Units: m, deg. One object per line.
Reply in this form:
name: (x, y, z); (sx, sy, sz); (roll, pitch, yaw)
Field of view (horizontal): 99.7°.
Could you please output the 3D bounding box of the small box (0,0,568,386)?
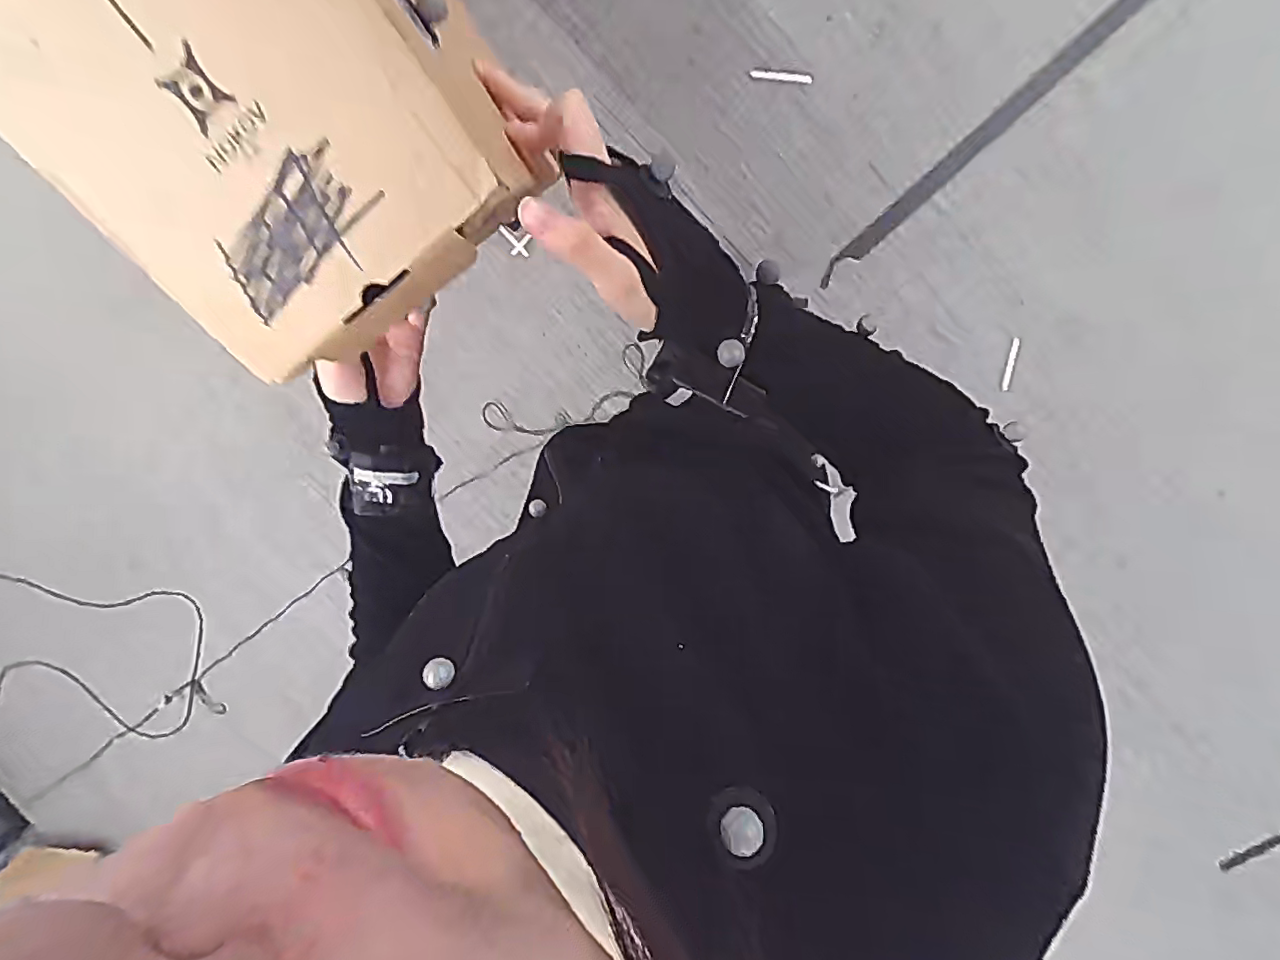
small box: (-0.158, -0.187, 0.286); (0.168, 0.176, 0.179); (-30, 115, 18)
